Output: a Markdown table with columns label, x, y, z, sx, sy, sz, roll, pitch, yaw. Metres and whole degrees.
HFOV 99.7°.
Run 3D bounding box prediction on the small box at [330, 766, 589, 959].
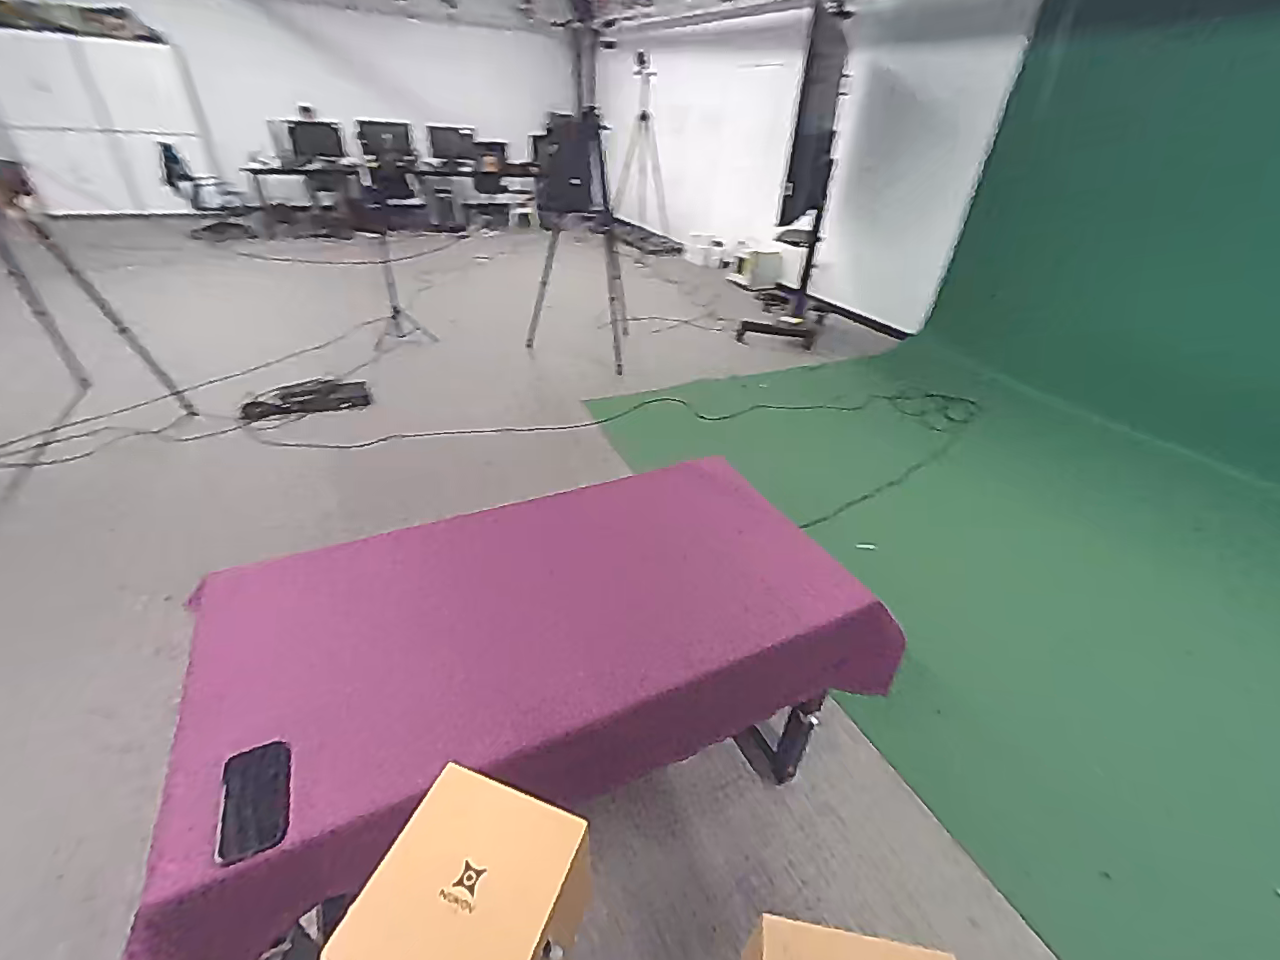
| label | x | y | z | sx | sy | sz | roll | pitch | yaw |
| --- | --- | --- | --- | --- | --- | --- | --- | --- | --- |
| small box | -0.160 | 0.436 | 0.541 | 0.168 | 0.176 | 0.179 | 12 | 36 | 15 |
